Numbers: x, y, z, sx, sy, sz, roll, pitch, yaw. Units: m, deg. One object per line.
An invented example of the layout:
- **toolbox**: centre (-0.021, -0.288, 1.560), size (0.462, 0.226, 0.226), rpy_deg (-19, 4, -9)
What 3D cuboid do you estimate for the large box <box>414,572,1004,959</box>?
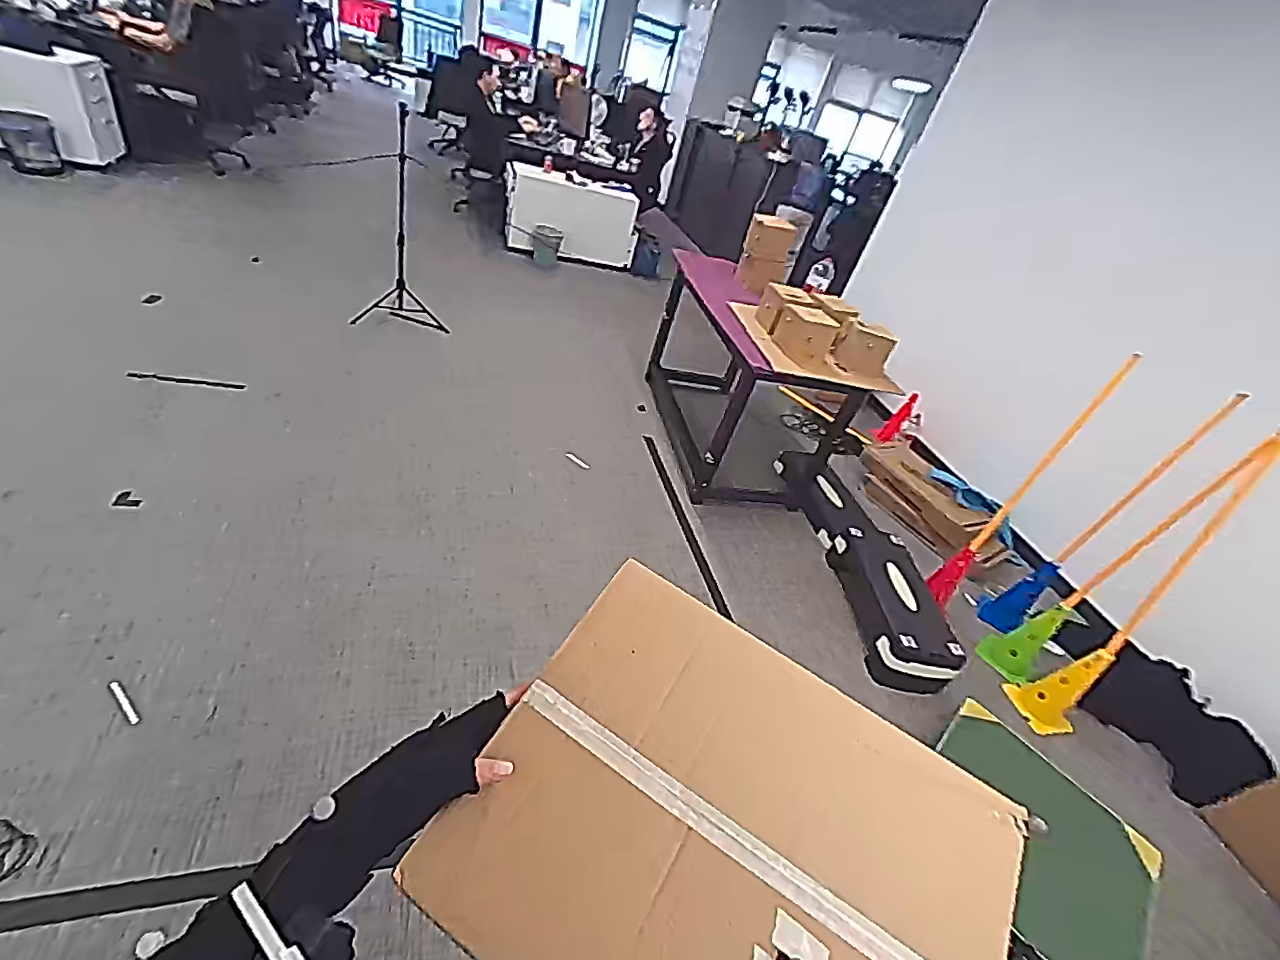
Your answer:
- **large box**: centre (0.055, 0.372, 0.554), size (0.408, 0.320, 0.320), rpy_deg (31, 57, 13)
